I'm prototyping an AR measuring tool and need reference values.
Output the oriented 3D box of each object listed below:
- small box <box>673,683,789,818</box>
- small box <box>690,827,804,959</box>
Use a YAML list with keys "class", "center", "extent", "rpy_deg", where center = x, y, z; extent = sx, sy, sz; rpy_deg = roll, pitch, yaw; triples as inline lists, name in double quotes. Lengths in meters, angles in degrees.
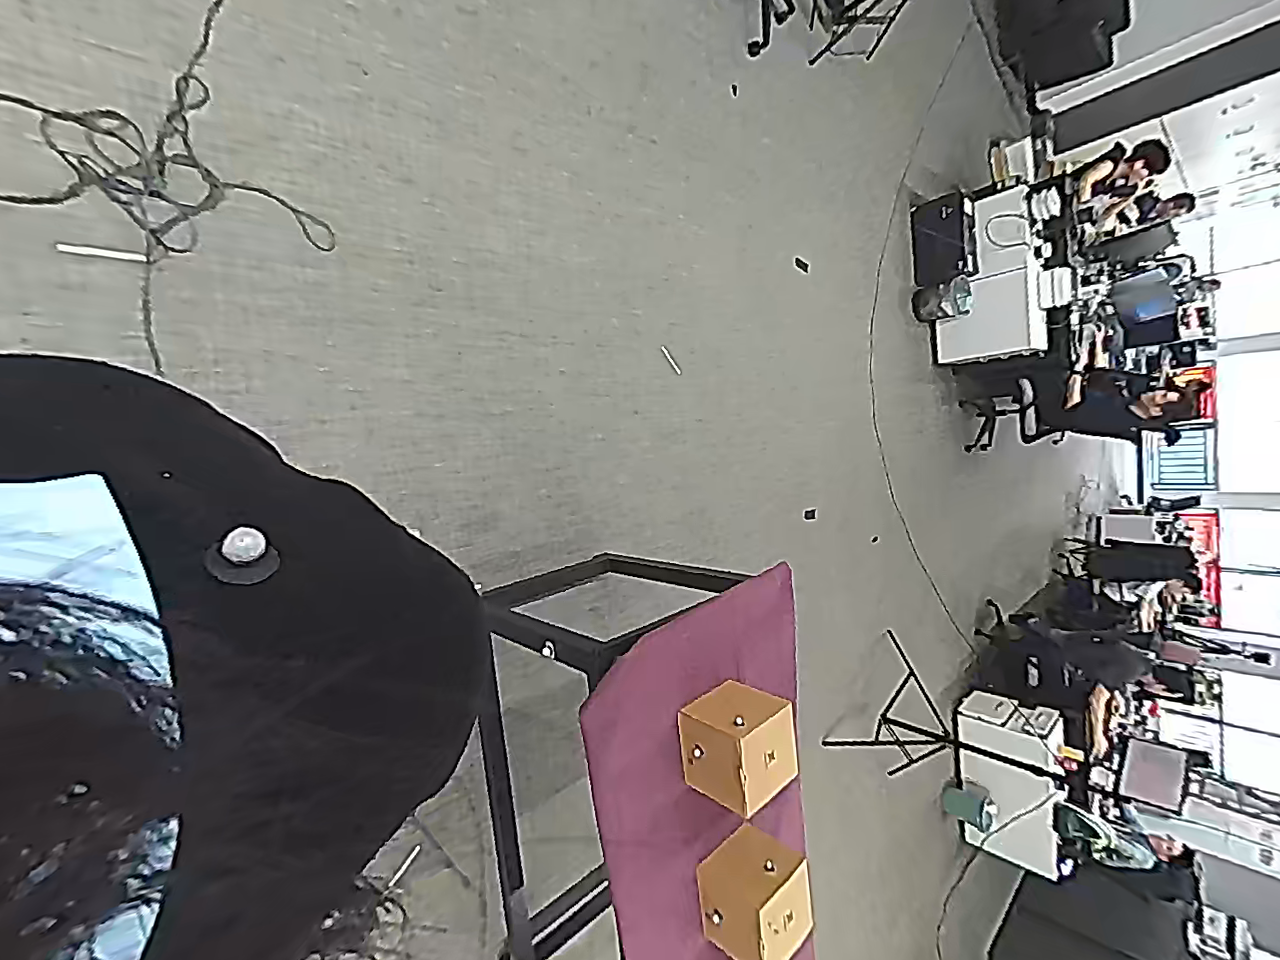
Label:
- class: "small box"
  center: [0.192, 0.556, 1.144]
  extent: [0.179, 0.176, 0.168]
  rpy_deg: [-12, 98, -40]
- class: "small box"
  center: [0.232, 0.905, 1.177]
  extent: [0.179, 0.176, 0.168]
  rpy_deg: [-11, 96, -41]
